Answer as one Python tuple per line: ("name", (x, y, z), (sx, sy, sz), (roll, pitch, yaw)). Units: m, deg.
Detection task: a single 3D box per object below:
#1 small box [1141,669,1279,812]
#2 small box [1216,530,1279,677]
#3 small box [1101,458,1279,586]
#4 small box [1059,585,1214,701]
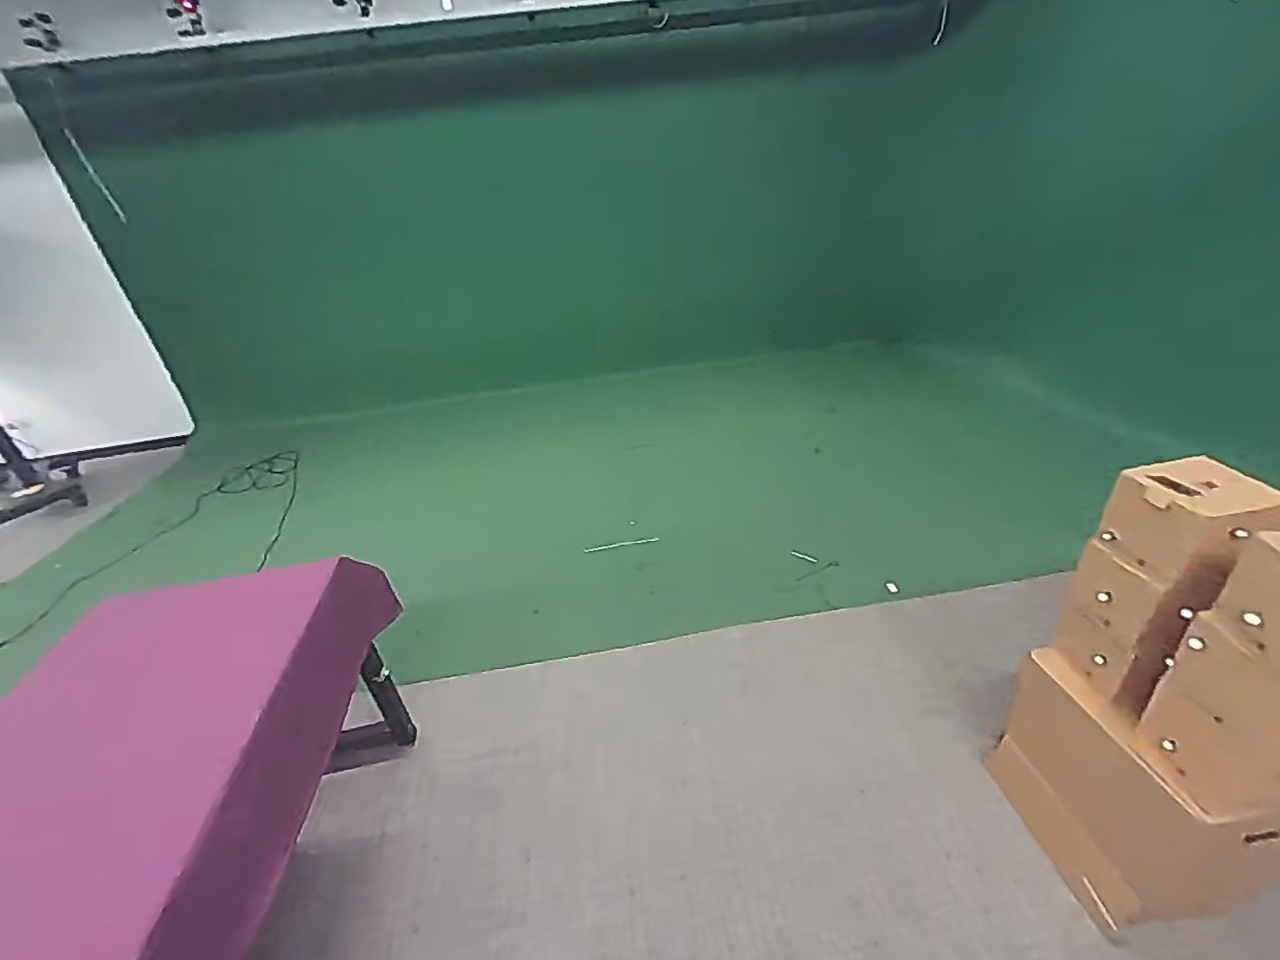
("small box", (1.079, 0.471, 0.979), (0.179, 0.176, 0.168), (-7, 28, 3))
("small box", (1.043, 0.192, 0.806), (0.179, 0.176, 0.168), (0, 29, 14))
("small box", (1.024, 0.080, 1.019), (0.179, 0.176, 0.168), (-9, 31, -4))
("small box", (1.068, 0.359, 1.186), (0.179, 0.176, 0.168), (-9, 31, -1))
